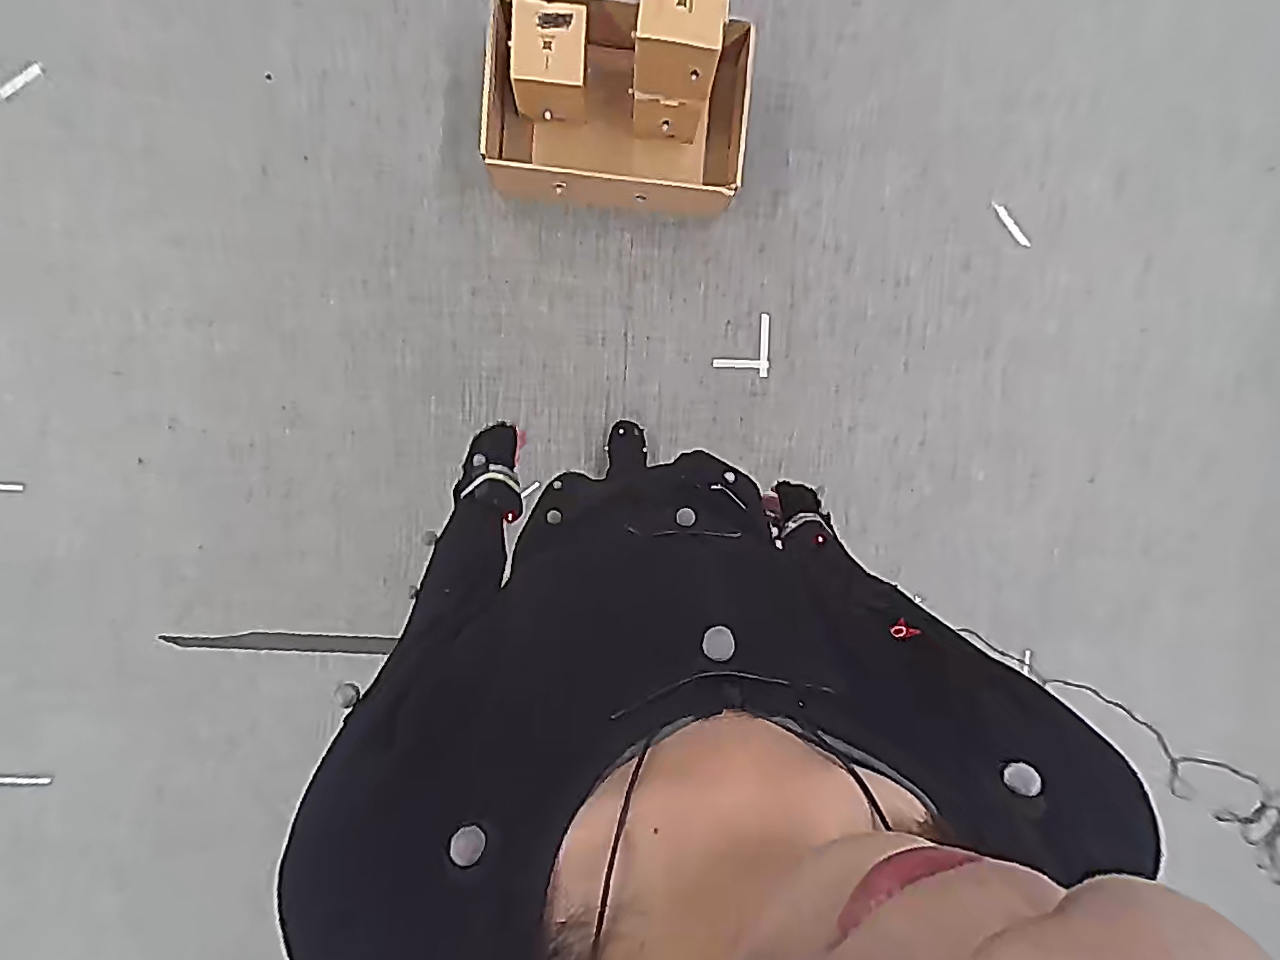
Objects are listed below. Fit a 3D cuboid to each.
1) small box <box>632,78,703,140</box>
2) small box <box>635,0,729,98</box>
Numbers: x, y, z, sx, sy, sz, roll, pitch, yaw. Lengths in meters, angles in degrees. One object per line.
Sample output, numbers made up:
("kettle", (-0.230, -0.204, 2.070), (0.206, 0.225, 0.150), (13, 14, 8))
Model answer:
("small box", (0.074, -0.964, 1.315), (0.168, 0.176, 0.179), (6, 96, -1))
("small box", (0.086, -0.954, 1.150), (0.179, 0.176, 0.168), (6, 93, -2))
